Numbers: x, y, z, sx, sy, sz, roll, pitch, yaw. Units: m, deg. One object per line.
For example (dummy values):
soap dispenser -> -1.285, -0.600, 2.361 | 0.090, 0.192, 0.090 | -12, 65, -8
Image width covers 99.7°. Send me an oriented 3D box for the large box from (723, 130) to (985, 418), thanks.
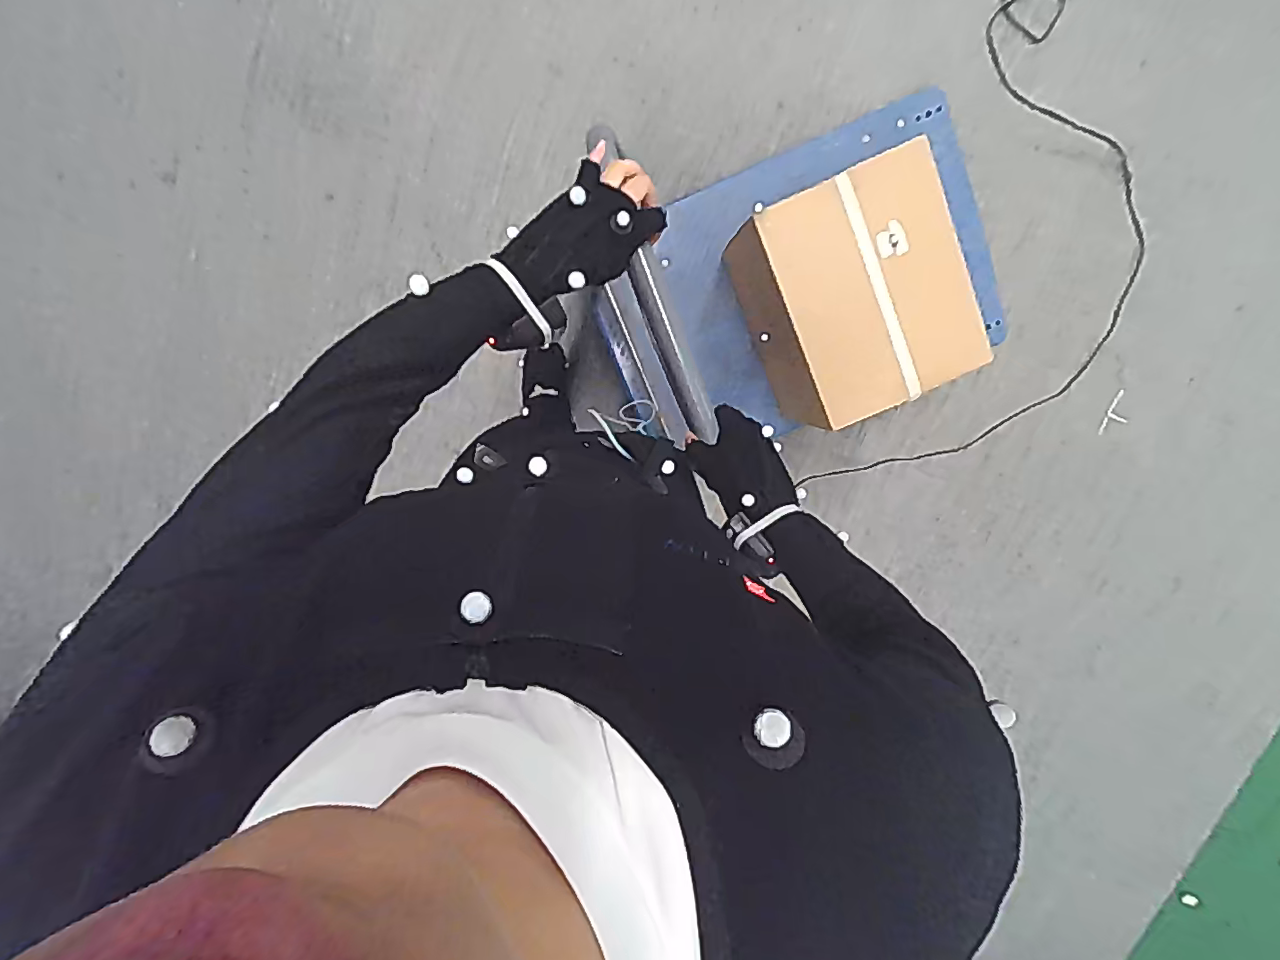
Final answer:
large box -> 0.400, -0.374, 1.088 | 0.320, 0.320, 0.408 | -23, 100, 3
